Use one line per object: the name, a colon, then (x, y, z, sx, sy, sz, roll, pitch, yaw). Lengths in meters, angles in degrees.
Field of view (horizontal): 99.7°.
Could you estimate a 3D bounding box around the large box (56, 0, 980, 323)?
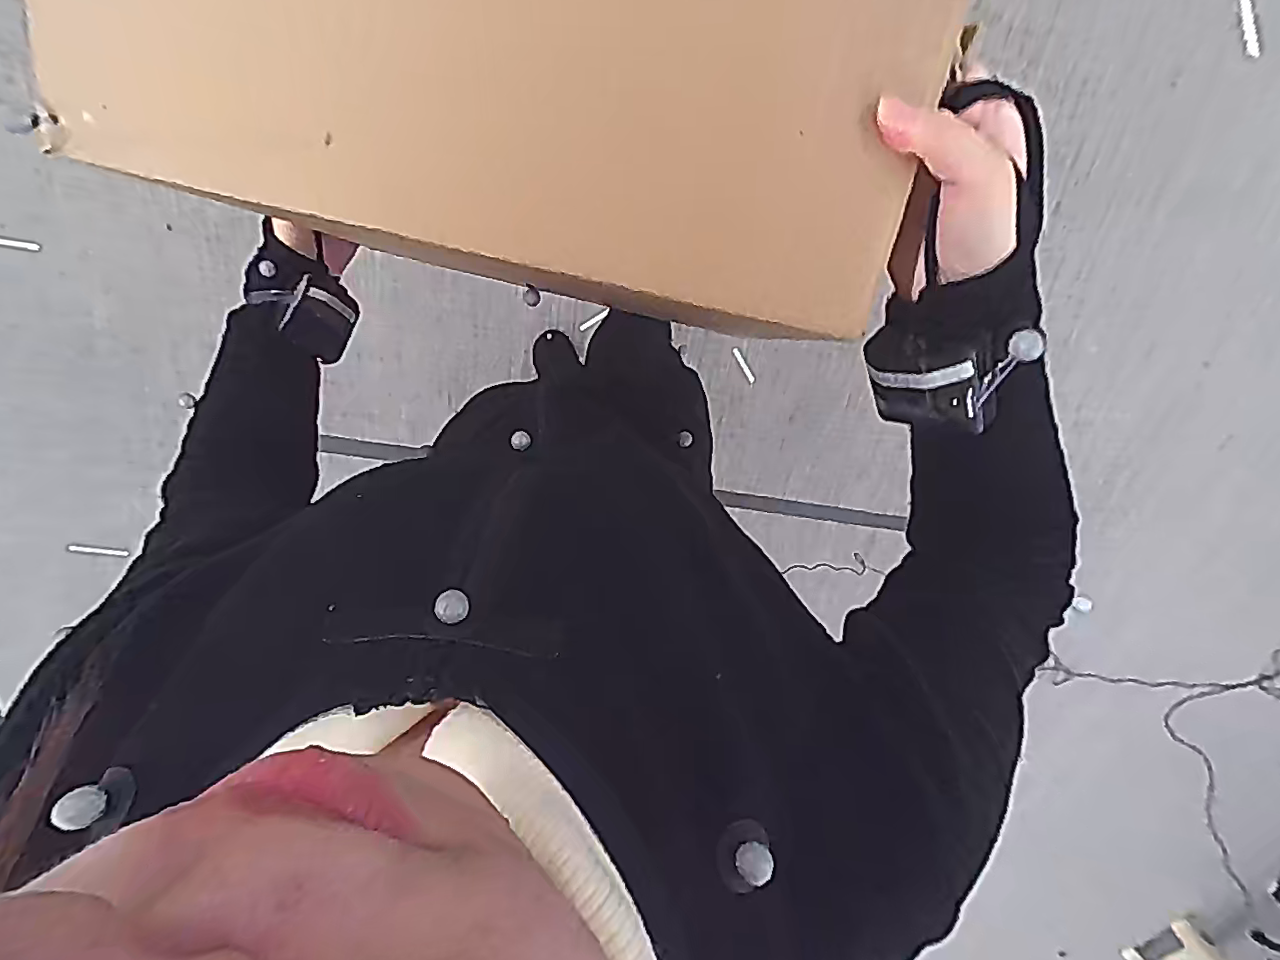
large box: (-0.037, -0.301, 0.365, 0.408, 0.320, 0.320, 13, 104, -1)
